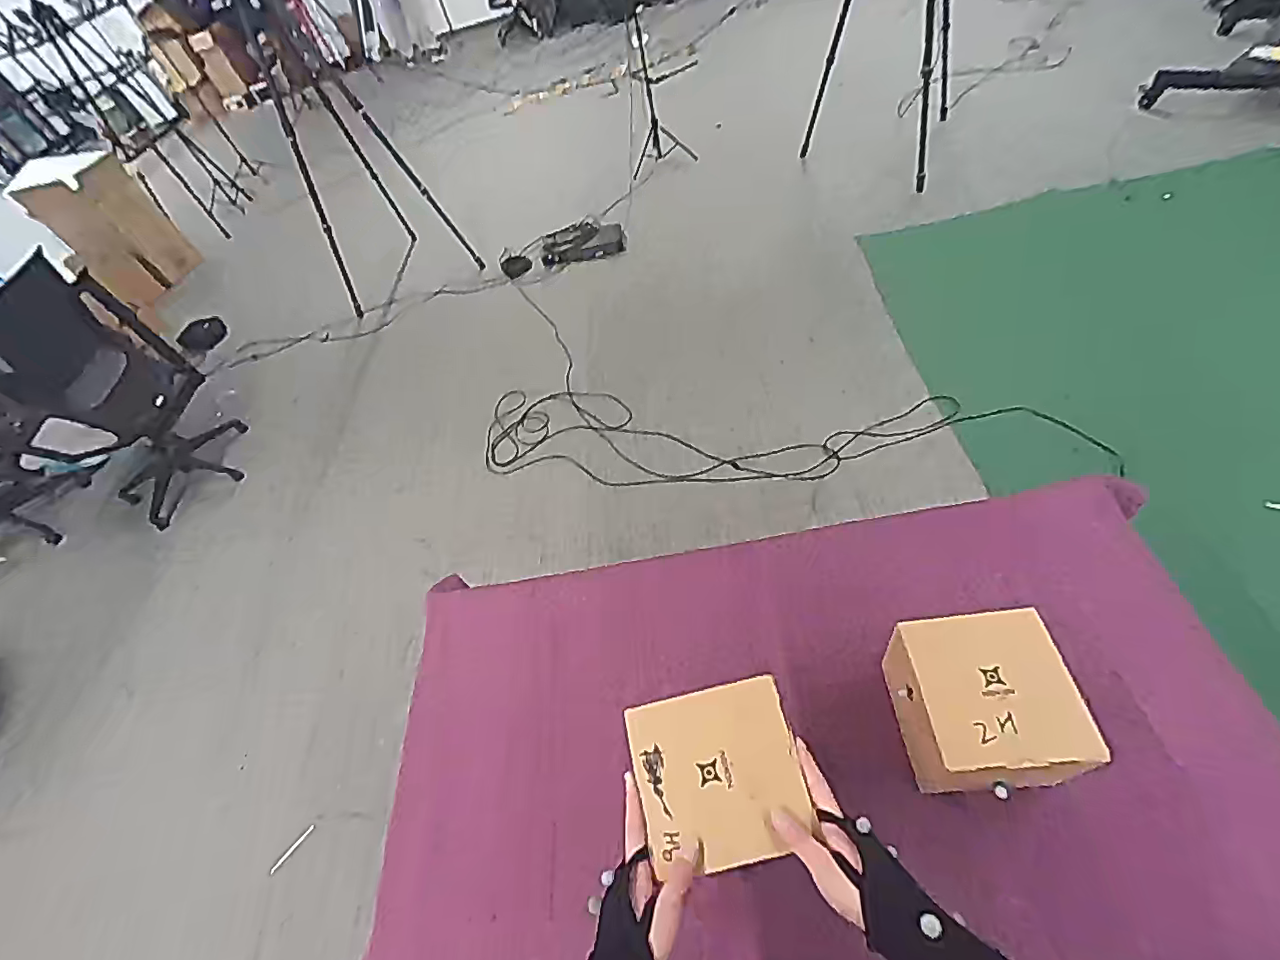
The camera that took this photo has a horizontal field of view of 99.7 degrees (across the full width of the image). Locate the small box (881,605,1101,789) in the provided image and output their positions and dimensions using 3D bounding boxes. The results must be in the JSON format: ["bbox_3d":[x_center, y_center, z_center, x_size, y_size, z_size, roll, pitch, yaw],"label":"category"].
[{"bbox_3d":[0.425,0.283,0.697,0.168,0.176,0.179,-9,52,9],"label":"small box"}]

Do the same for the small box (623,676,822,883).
[{"bbox_3d":[0.089,0.347,0.630,0.179,0.176,0.168,-14,55,1],"label":"small box"}]
